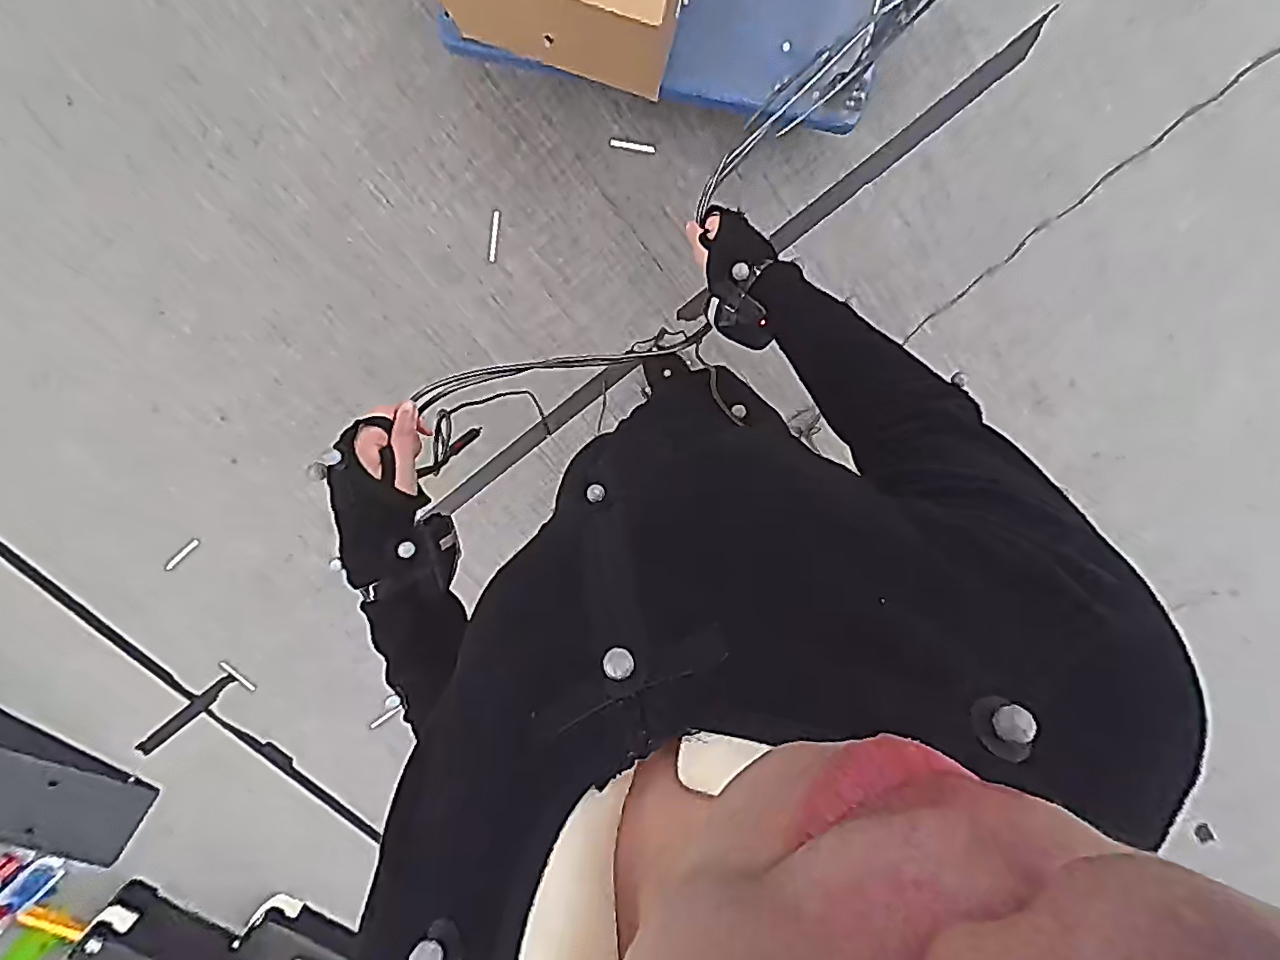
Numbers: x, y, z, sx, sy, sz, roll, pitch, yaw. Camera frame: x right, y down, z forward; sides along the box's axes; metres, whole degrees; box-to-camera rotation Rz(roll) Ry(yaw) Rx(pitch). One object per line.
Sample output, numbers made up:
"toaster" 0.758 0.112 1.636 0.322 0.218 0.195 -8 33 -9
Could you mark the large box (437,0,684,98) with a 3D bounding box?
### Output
"large box" -0.116 -0.904 0.890 0.408 0.320 0.320 15 107 -3
